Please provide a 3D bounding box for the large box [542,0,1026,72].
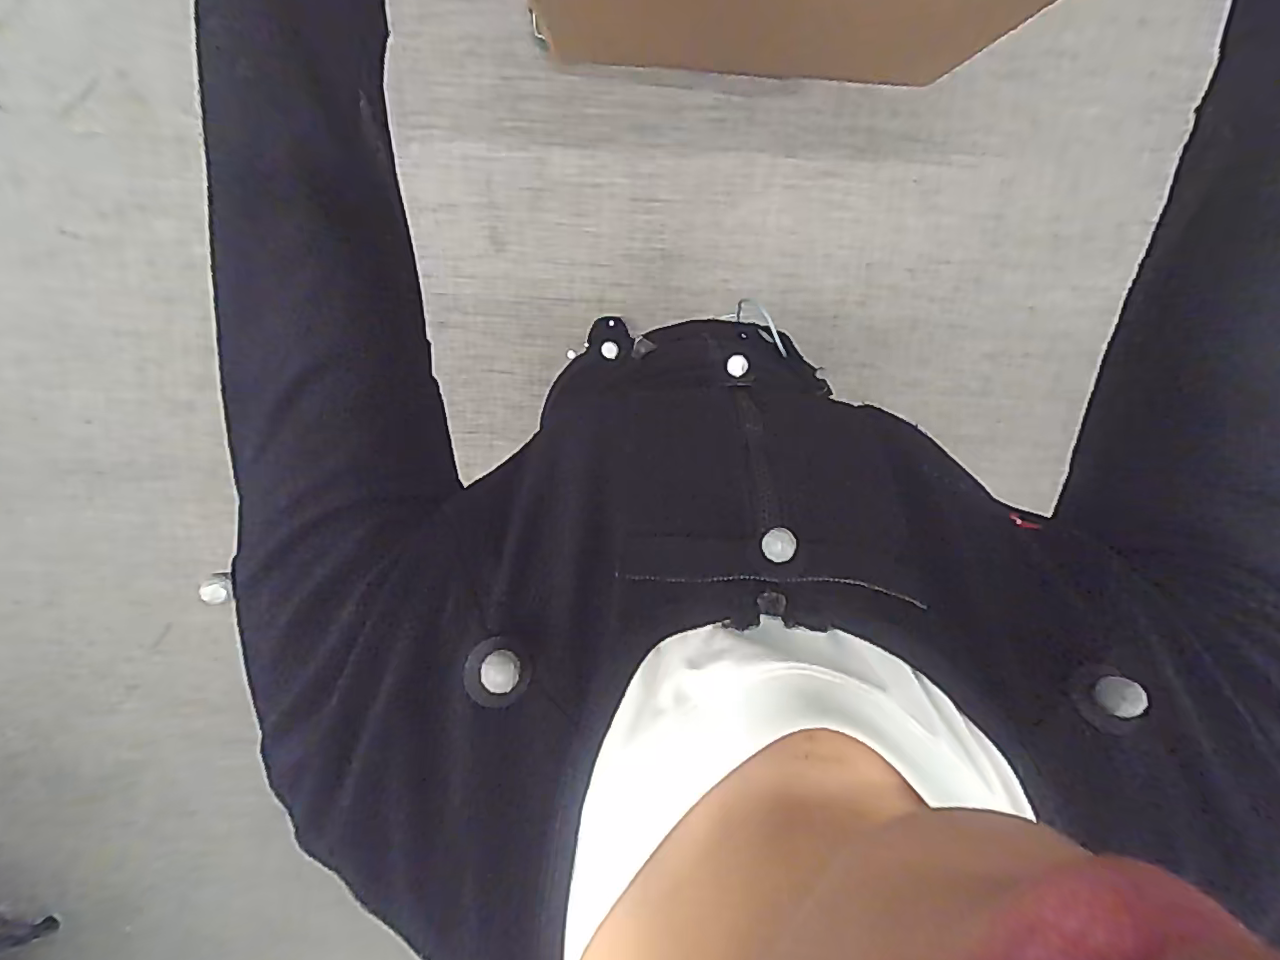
[{"bbox_3d":[0.117,-0.530,0.383,0.408,0.320,0.320,2,112,-1],"label":"large box"}]
